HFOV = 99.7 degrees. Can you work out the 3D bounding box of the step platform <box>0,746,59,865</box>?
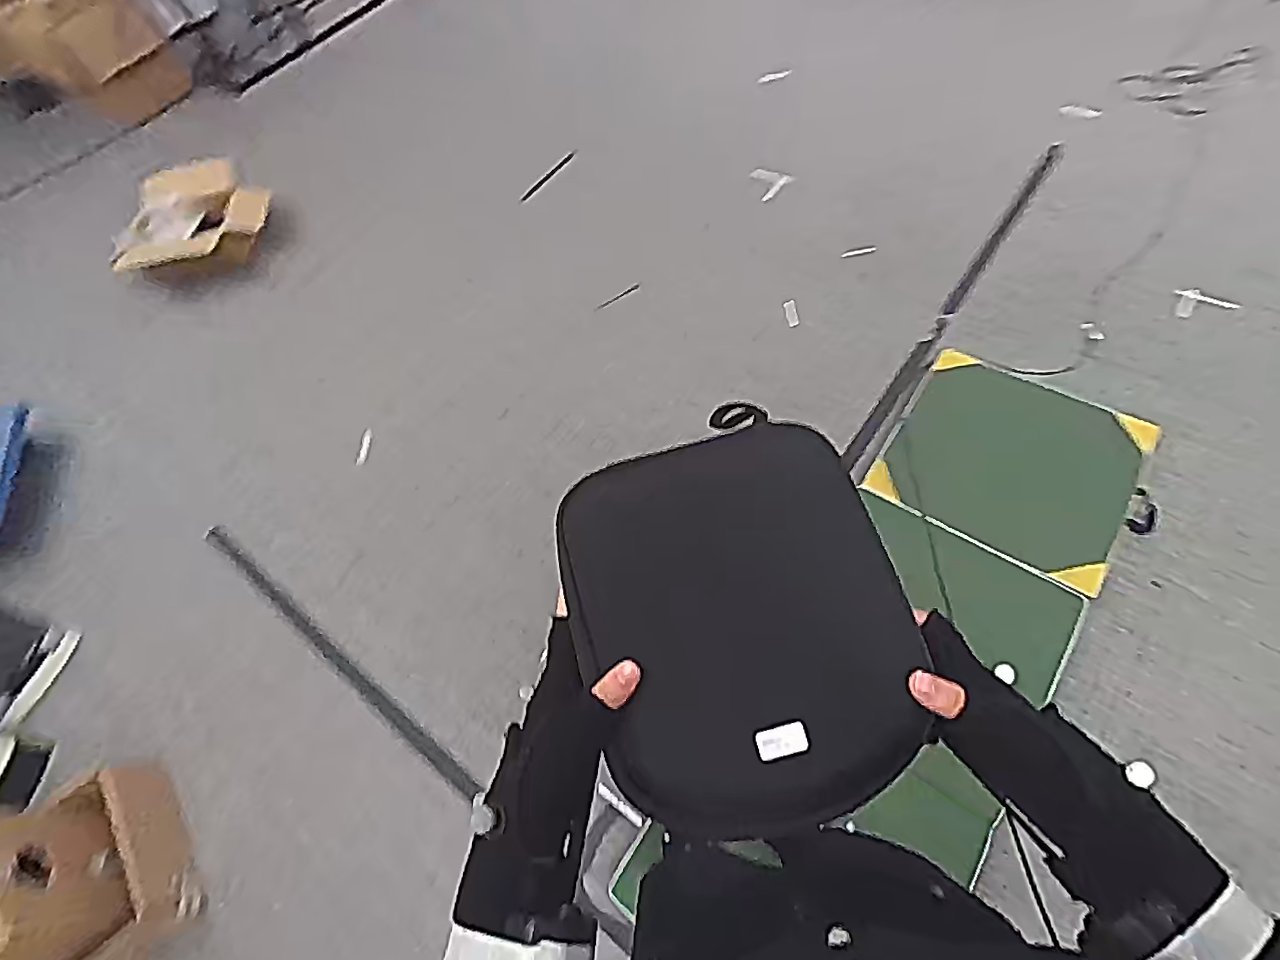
[{"bbox_3d":[-1.975,0.836,1.440,0.684,0.204,0.286,3,62,9],"label":"step platform"}]
